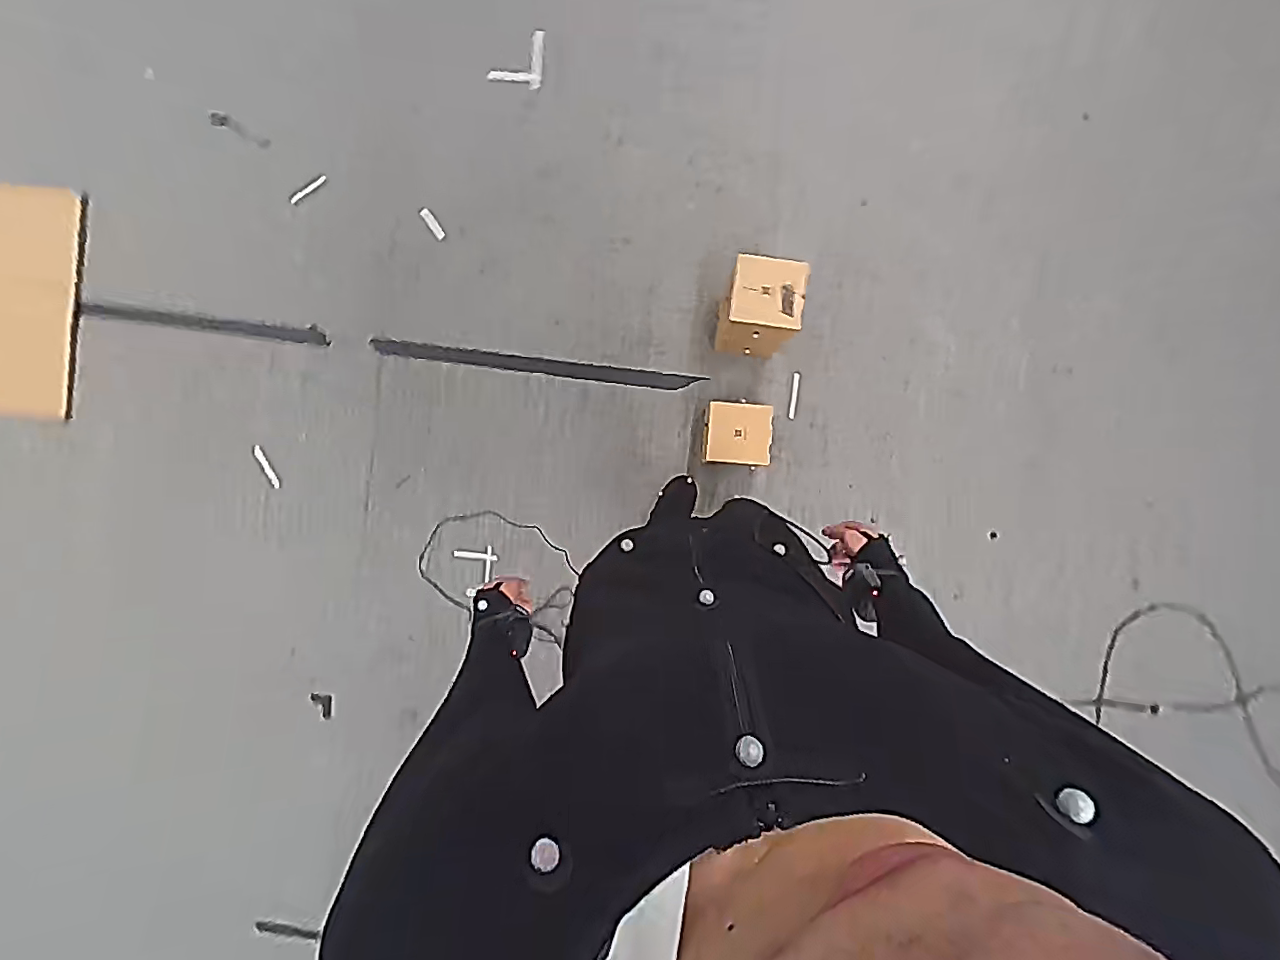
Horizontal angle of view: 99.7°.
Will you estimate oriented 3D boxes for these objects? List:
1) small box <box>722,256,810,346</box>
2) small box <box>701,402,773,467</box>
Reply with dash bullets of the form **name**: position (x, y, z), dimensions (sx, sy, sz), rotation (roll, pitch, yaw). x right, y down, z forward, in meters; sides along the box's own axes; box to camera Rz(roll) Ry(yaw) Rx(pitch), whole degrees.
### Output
- **small box**: position (0.316, -0.451, 1.388), dimensions (0.179, 0.176, 0.168), rotation (9, 90, 2)
- **small box**: position (0.274, -0.125, 1.559), dimensions (0.179, 0.176, 0.168), rotation (5, 91, 0)
